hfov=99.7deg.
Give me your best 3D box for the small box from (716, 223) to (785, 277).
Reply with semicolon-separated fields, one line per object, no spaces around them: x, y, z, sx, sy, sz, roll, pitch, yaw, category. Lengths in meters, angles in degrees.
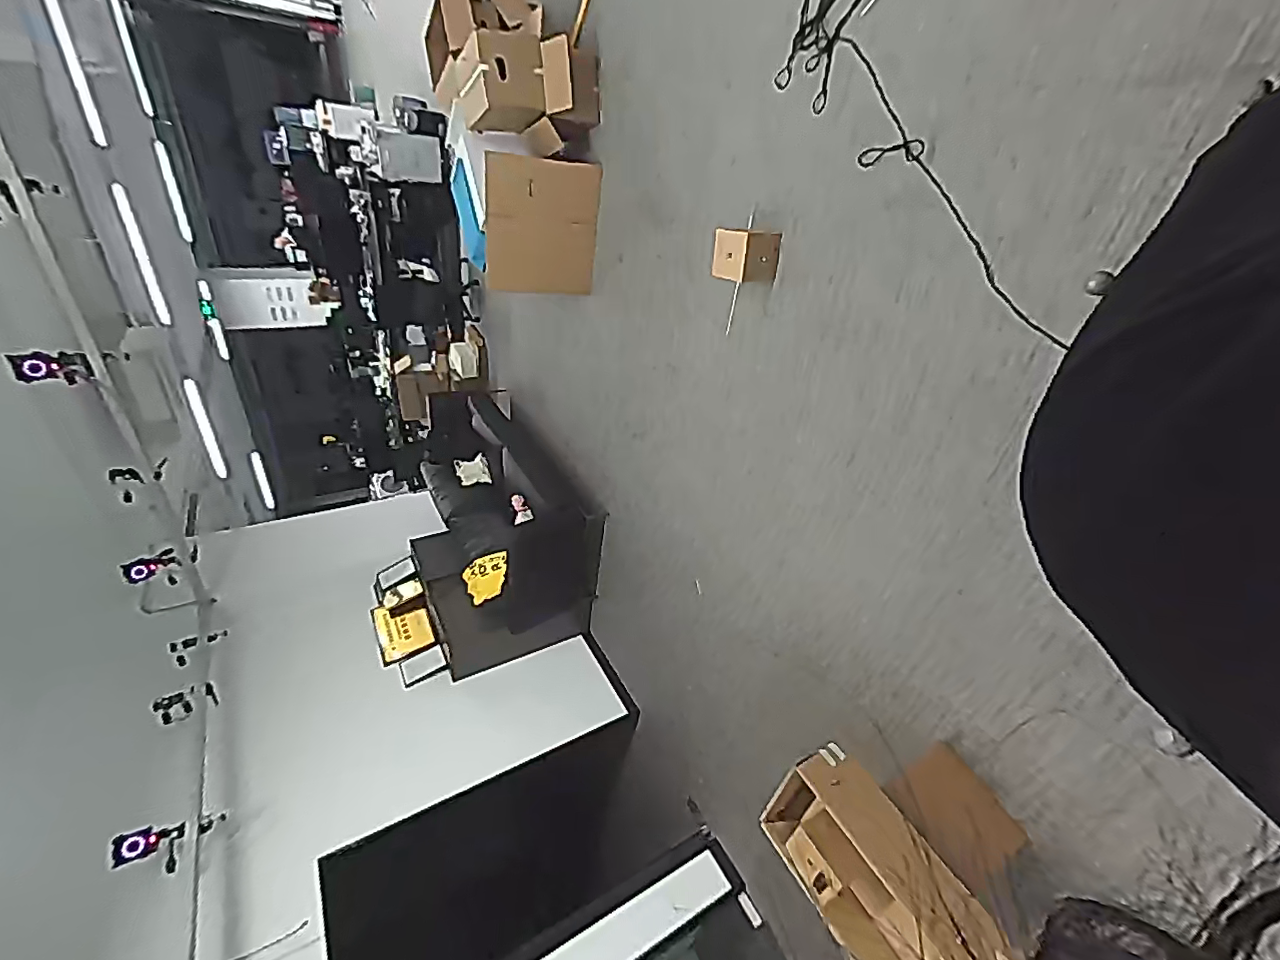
0.408;-0.852;1.996;0.179;0.176;0.168;41;136;48;small box
